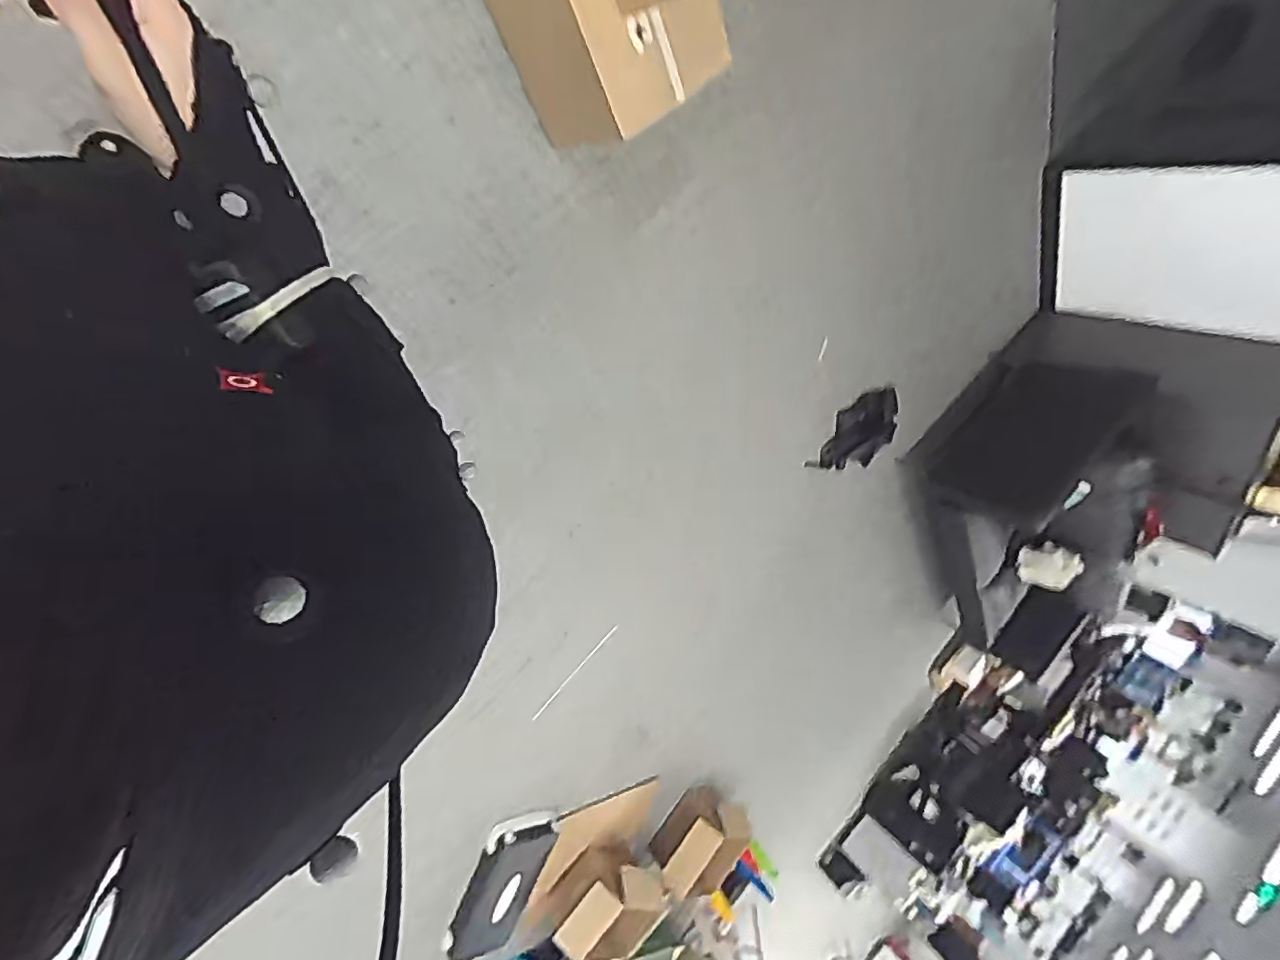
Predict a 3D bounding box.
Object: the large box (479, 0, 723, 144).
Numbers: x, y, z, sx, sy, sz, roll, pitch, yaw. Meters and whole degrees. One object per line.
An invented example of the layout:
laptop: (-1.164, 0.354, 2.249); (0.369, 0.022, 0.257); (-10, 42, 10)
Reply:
large box: (-0.098, -0.950, 1.062); (0.320, 0.320, 0.408); (-42, 134, -12)
